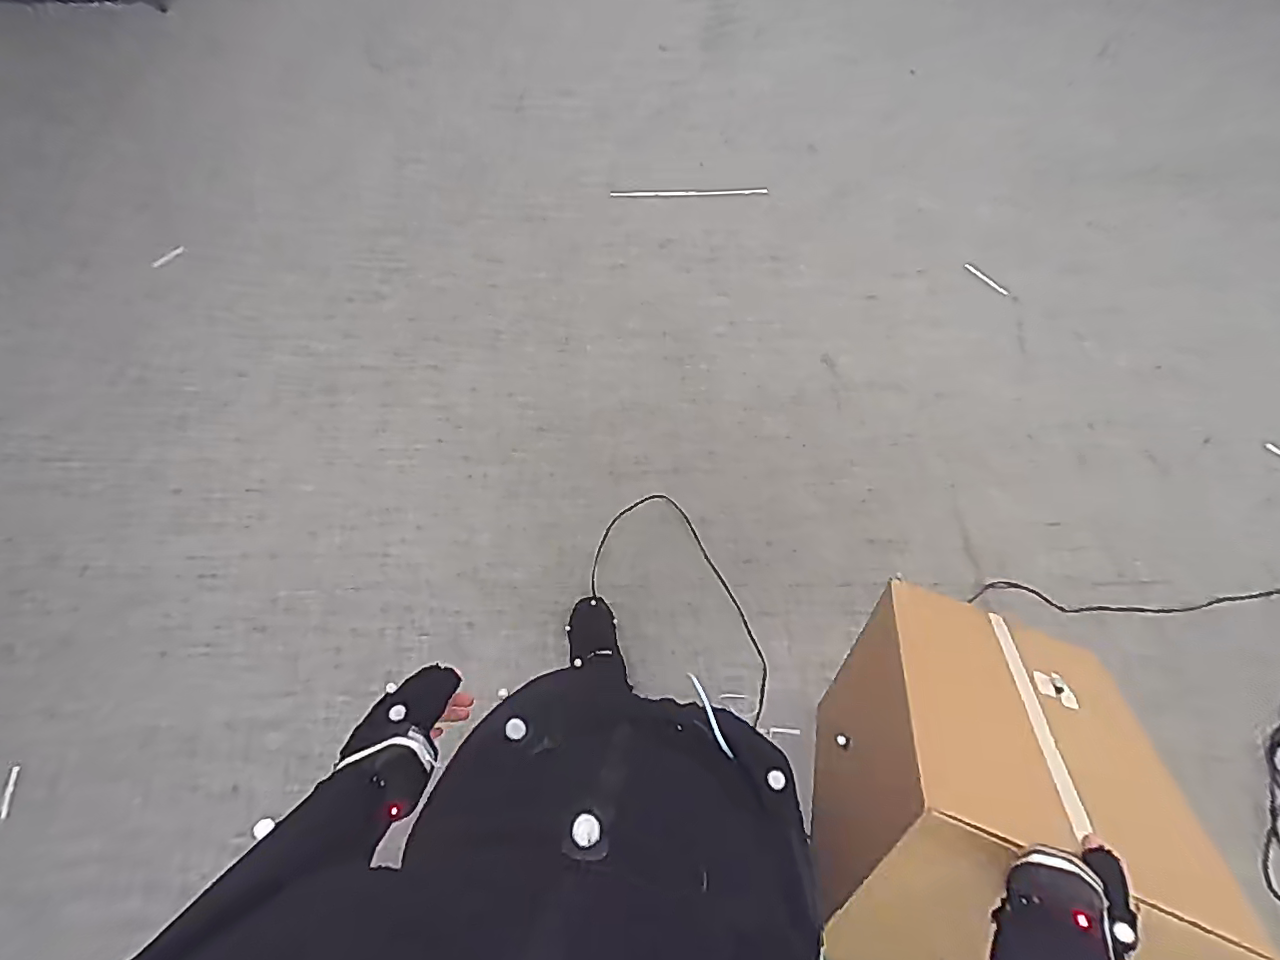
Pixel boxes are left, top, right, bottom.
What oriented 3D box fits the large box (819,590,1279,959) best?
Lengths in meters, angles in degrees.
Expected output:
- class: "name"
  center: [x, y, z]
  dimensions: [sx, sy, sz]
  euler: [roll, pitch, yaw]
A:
- class: "large box"
  center: [0.447, 0.429, 0.733]
  dimensions: [0.320, 0.408, 0.320]
  euler: [21, 118, 10]
